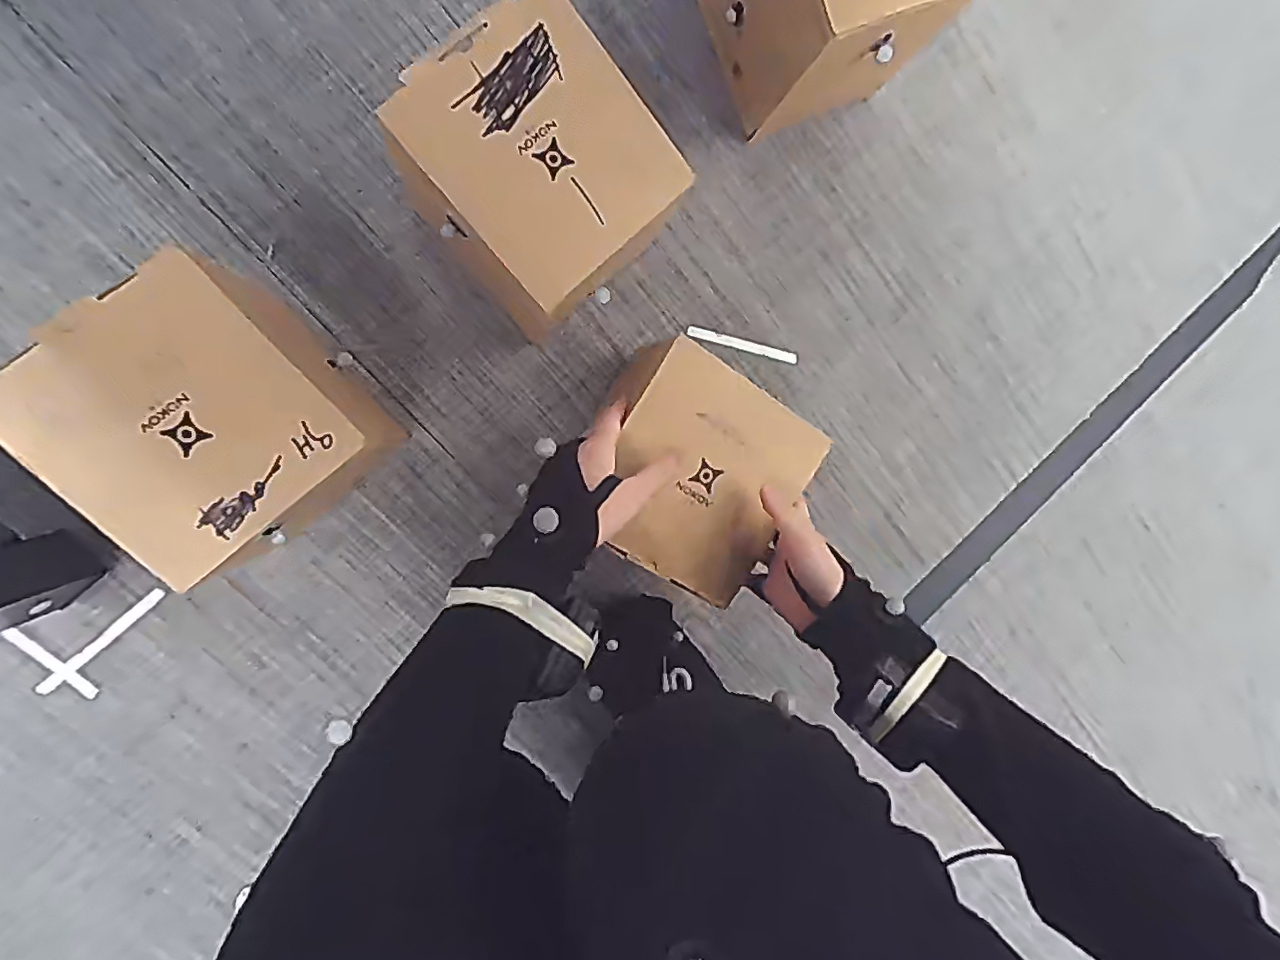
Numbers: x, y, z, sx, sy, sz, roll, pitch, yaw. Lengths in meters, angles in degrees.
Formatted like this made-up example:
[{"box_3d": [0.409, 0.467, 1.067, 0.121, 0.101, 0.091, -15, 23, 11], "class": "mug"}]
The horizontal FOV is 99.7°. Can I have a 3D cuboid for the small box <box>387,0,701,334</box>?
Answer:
[{"box_3d": [-0.082, -0.254, 0.479, 0.168, 0.176, 0.179, -43, 103, -6], "class": "small box"}]

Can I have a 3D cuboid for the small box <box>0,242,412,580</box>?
[{"box_3d": [-0.322, -0.049, 0.444, 0.168, 0.176, 0.179, -40, 101, -7], "class": "small box"}]

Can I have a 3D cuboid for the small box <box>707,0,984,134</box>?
[{"box_3d": [0.191, -0.479, 0.522, 0.179, 0.176, 0.168, -25, 100, -9], "class": "small box"}]
